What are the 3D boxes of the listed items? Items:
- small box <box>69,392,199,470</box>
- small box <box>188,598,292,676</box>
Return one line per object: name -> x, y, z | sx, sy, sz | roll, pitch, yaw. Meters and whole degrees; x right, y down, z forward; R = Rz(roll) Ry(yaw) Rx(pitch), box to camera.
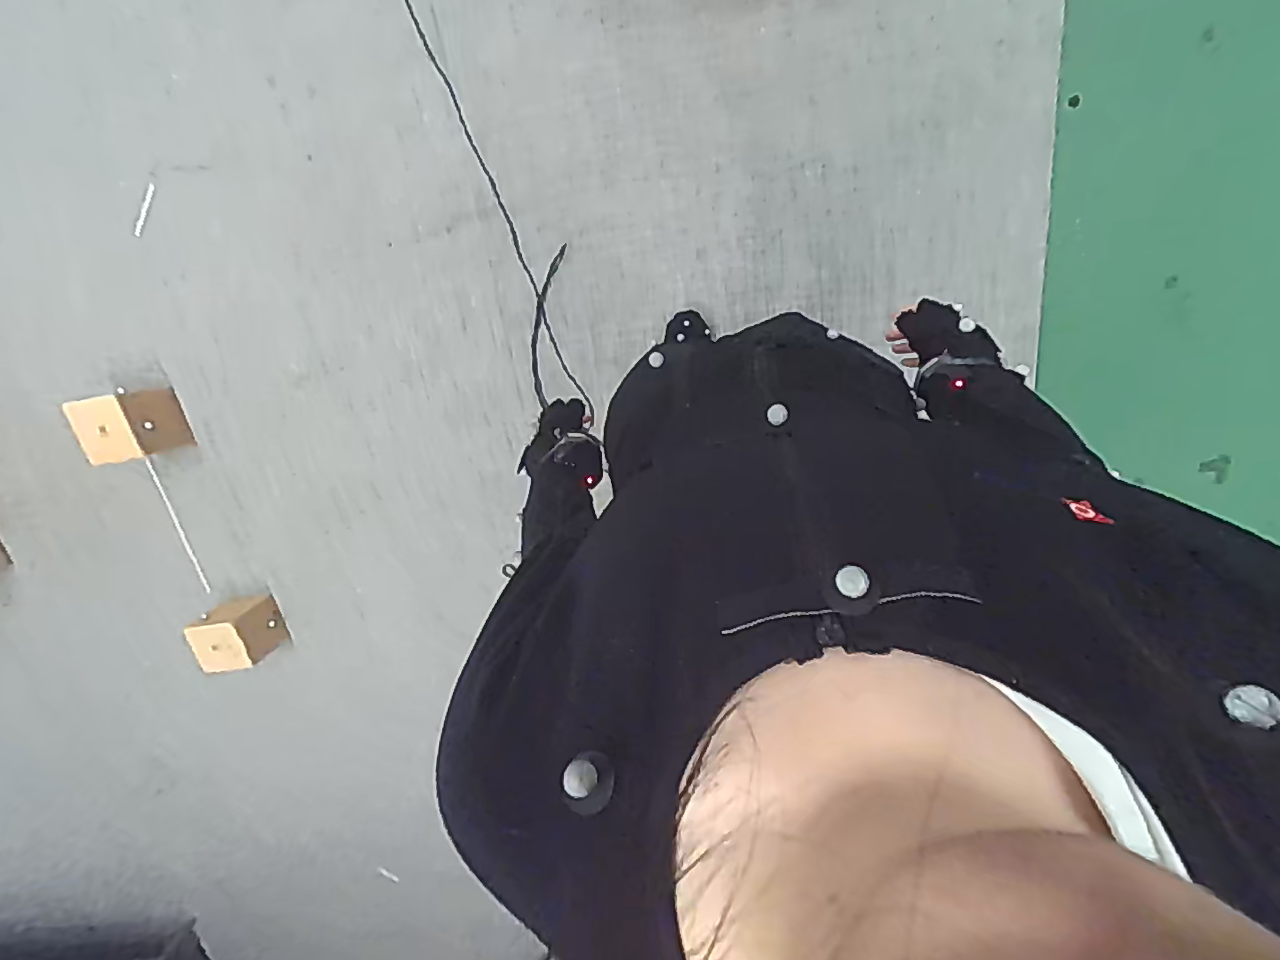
small box -> -1.403, -0.143, 1.512 | 0.168, 0.176, 0.179 | -9, 108, 7
small box -> -1.260, 0.495, 1.716 | 0.179, 0.176, 0.168 | -9, 108, 8
